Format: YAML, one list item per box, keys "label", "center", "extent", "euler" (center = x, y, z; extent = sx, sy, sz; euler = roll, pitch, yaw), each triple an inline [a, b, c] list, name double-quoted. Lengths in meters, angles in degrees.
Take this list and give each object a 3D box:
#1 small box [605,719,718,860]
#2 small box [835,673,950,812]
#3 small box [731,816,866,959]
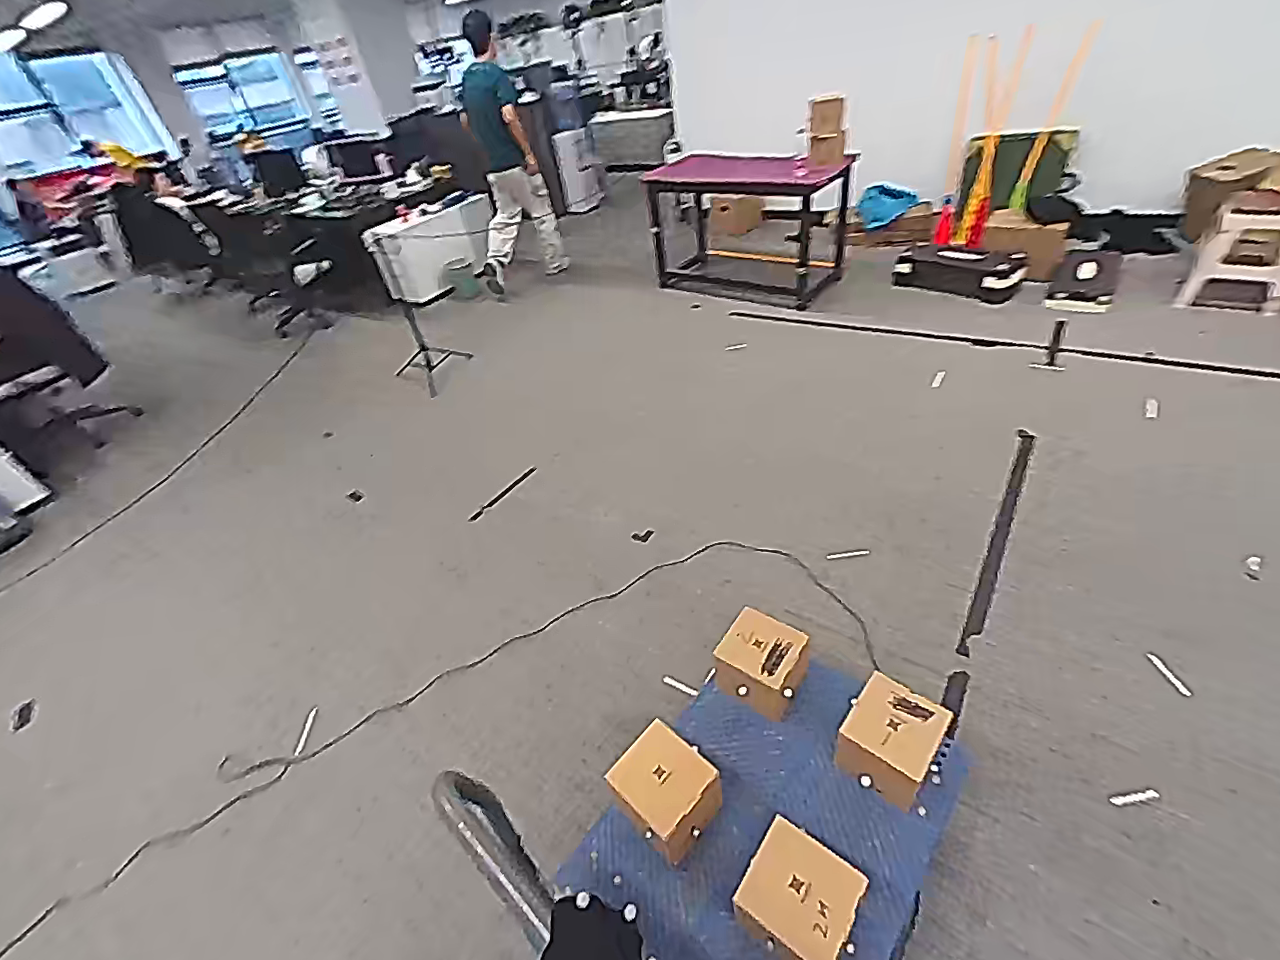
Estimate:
- label: "small box"
  center: [0.050, 0.664, 1.157]
  extent: [0.179, 0.176, 0.168]
  euler: [28, 52, 36]
- label: "small box"
  center: [0.536, 0.565, 1.167]
  extent: [0.168, 0.176, 0.179]
  euler: [25, 52, 36]
- label: "small box"
  center: [0.283, 0.767, 0.981]
  extent: [0.179, 0.176, 0.168]
  euler: [22, 49, 33]
